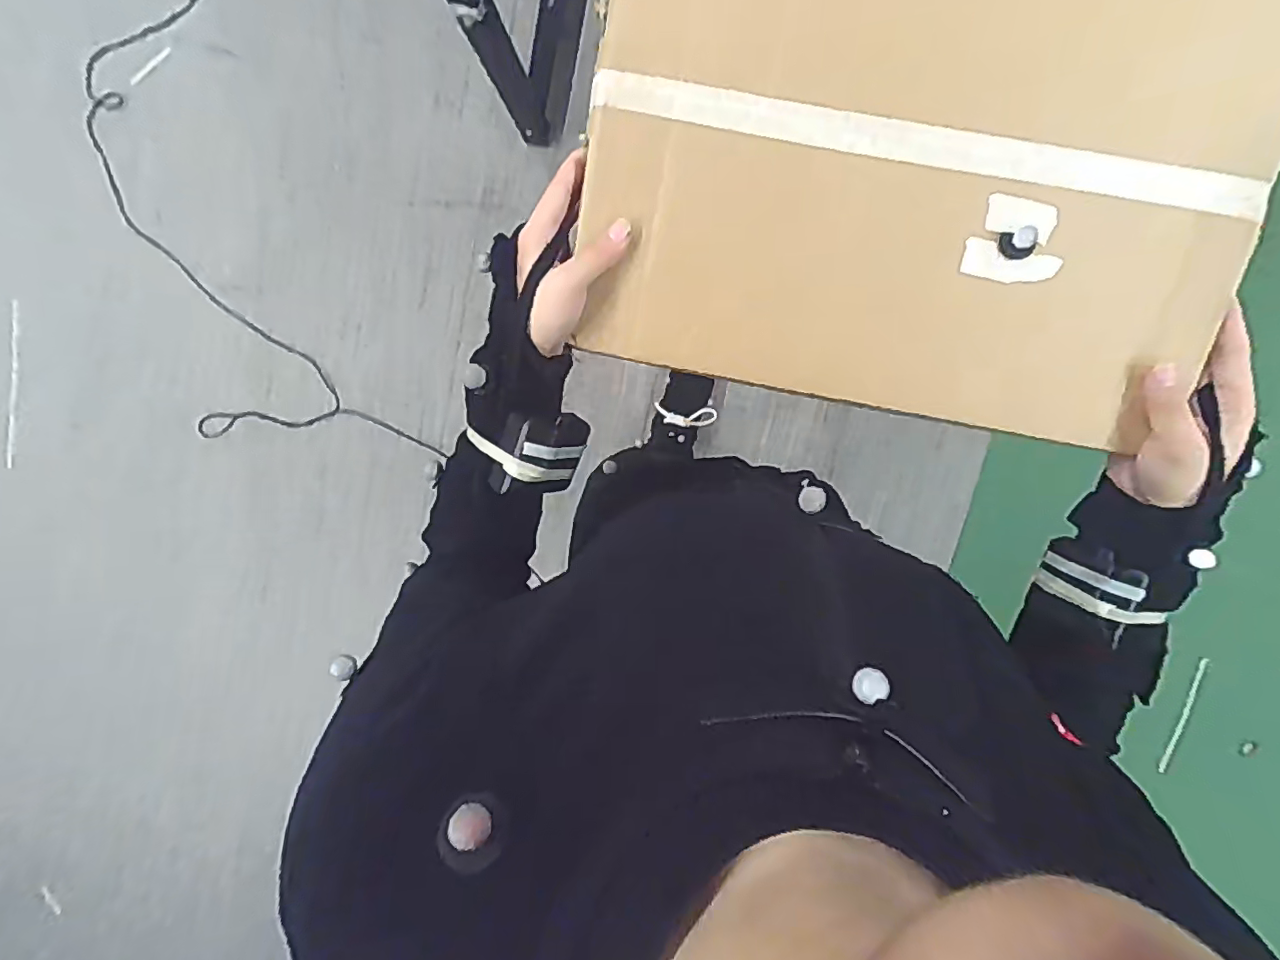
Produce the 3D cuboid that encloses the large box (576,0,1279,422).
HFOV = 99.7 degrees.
[{"bbox_3d":[0.179,-0.247,0.481,0.408,0.320,0.320,11,103,0],"label":"large box"}]
